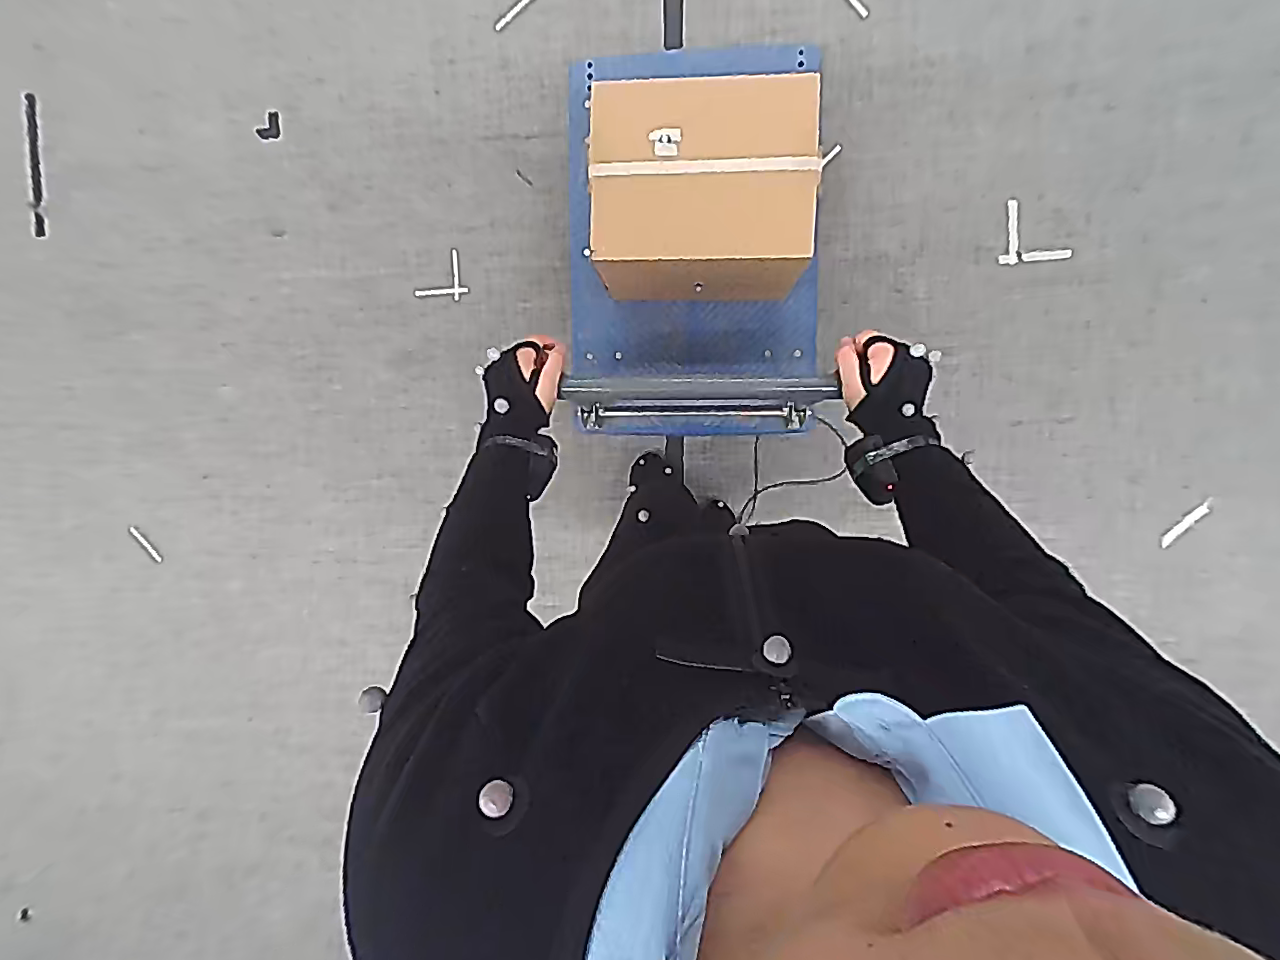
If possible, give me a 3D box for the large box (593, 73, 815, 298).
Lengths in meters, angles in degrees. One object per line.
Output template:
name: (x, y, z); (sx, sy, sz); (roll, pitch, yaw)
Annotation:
large box: (0.128, -0.575, 1.126); (0.408, 0.320, 0.320); (1, 94, 6)
